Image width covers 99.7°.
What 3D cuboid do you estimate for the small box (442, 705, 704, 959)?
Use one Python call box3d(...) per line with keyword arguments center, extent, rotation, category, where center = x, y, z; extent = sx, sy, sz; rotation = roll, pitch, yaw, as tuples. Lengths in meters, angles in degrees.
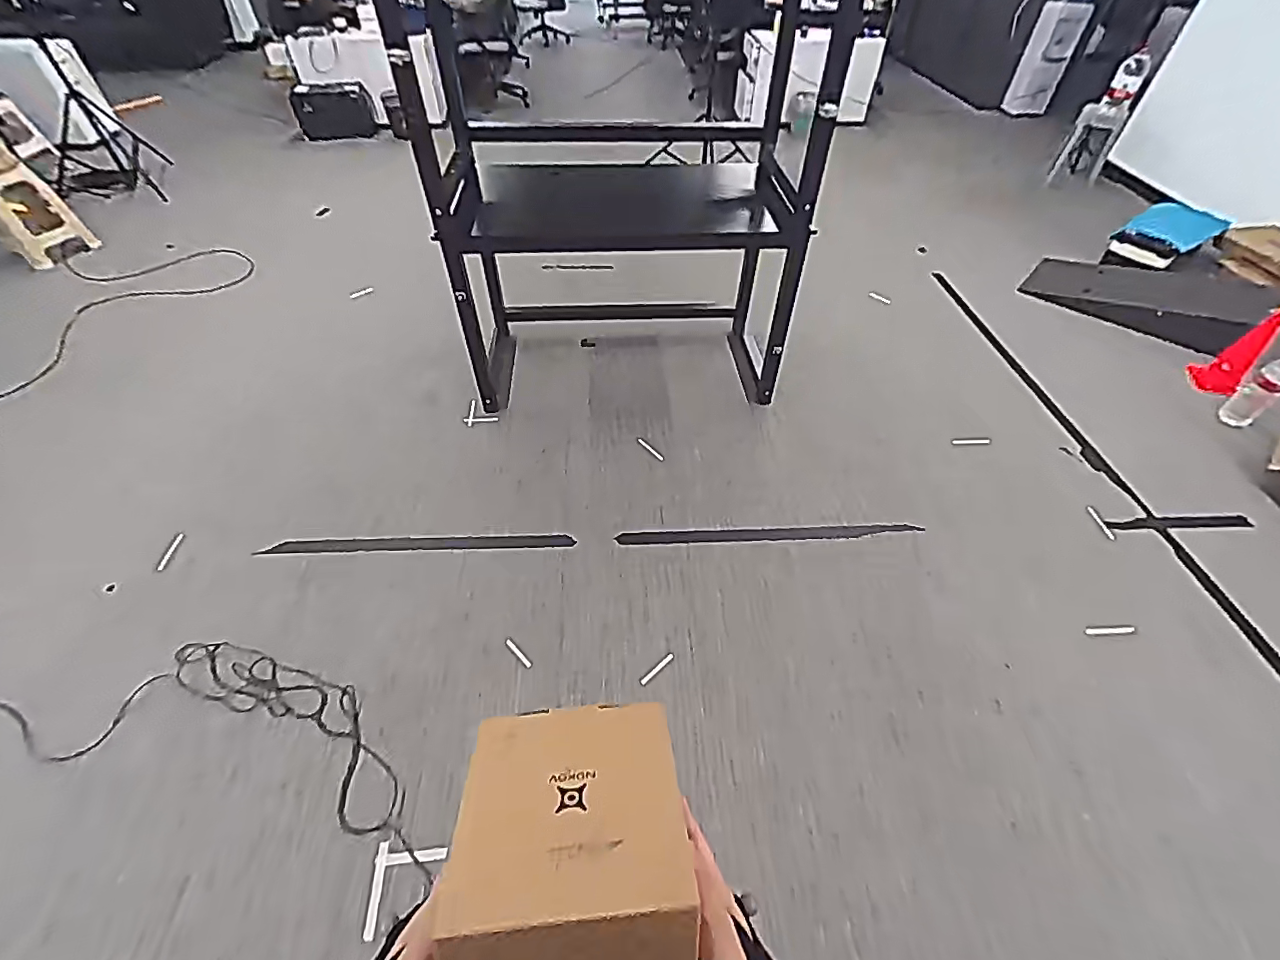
box3d(center=(-0.048, 0.316, 0.440), extent=(0.168, 0.176, 0.179), rotation=(-3, 21, -5), category="small box")
